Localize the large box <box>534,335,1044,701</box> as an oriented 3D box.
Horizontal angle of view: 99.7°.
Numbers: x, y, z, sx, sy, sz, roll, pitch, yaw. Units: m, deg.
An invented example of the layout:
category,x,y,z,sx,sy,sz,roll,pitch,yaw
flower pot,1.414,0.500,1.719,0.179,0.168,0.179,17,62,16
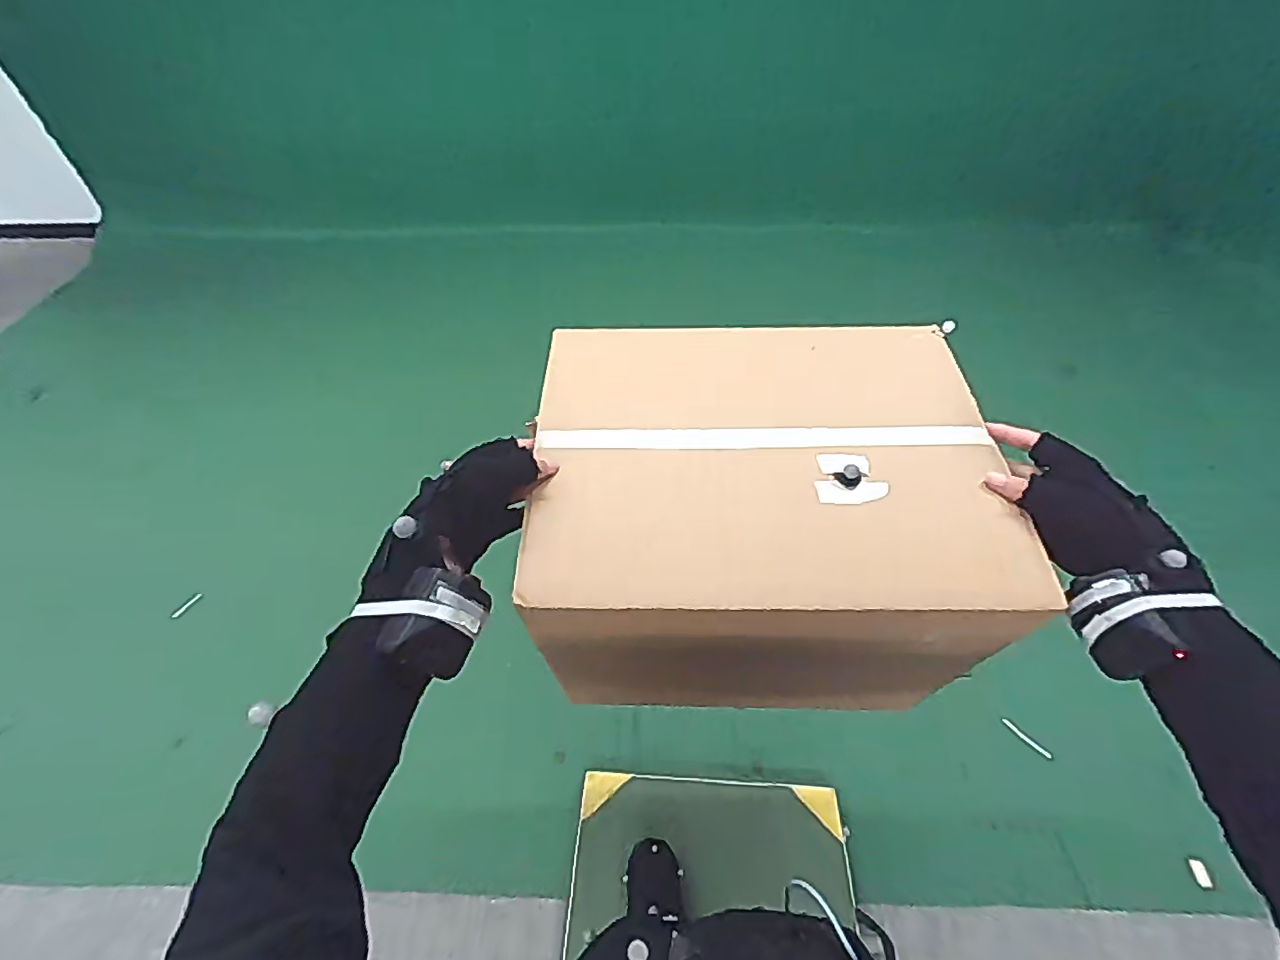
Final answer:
category,x,y,z,sx,sy,sz,roll,pitch,yaw
large box,0.114,0.055,0.621,0.408,0.320,0.320,0,56,1
